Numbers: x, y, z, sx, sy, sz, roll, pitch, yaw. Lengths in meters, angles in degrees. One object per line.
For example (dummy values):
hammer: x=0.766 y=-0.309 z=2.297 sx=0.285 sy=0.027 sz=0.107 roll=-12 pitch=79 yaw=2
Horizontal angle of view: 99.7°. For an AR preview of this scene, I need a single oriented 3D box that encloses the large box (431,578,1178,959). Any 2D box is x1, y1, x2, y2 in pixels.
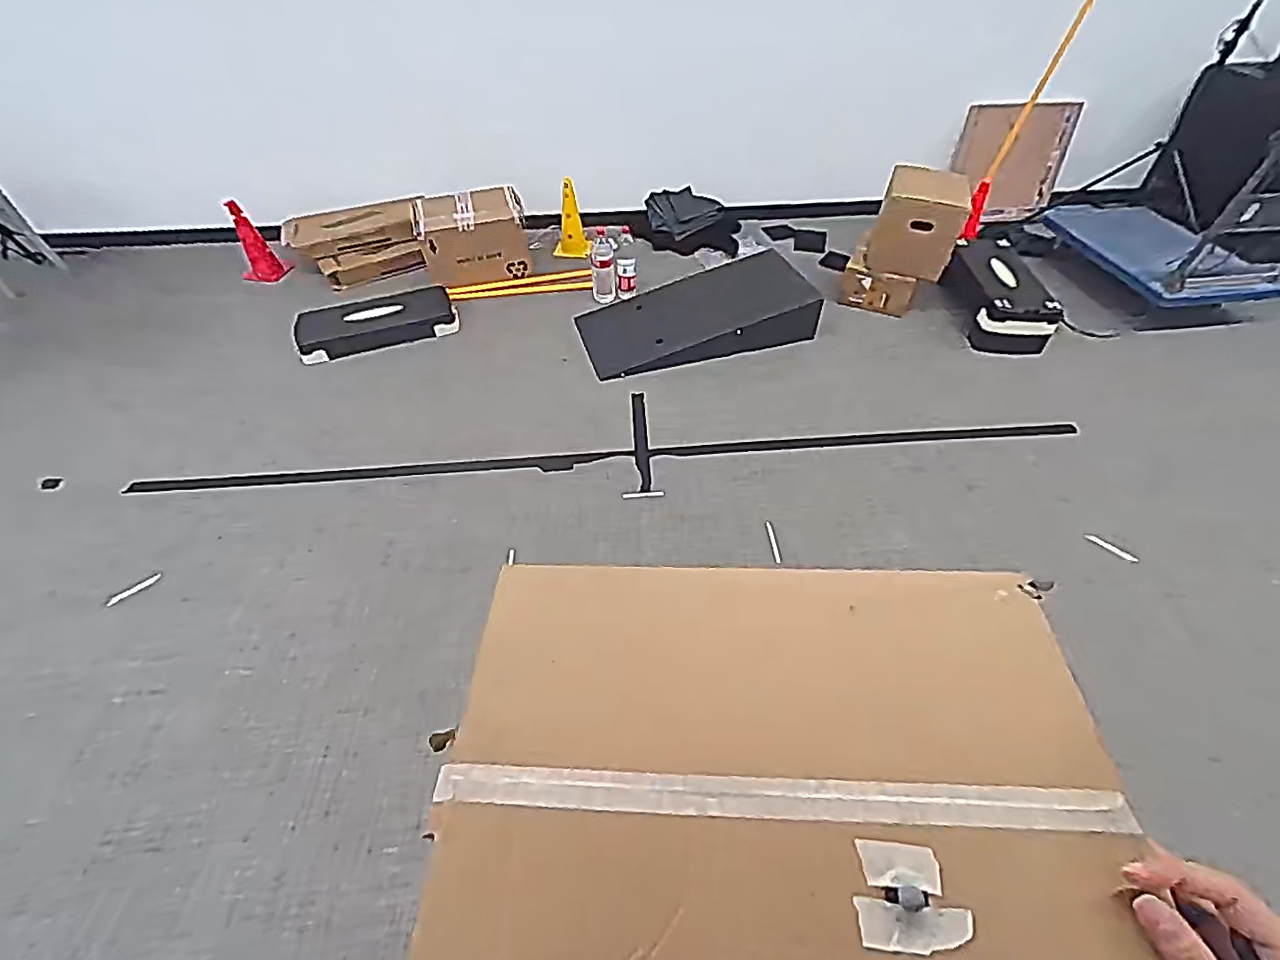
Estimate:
large box: x=0.091 y=0.292 z=0.452 sx=0.408 sy=0.320 sz=0.320 roll=0 pitch=52 yaw=4
